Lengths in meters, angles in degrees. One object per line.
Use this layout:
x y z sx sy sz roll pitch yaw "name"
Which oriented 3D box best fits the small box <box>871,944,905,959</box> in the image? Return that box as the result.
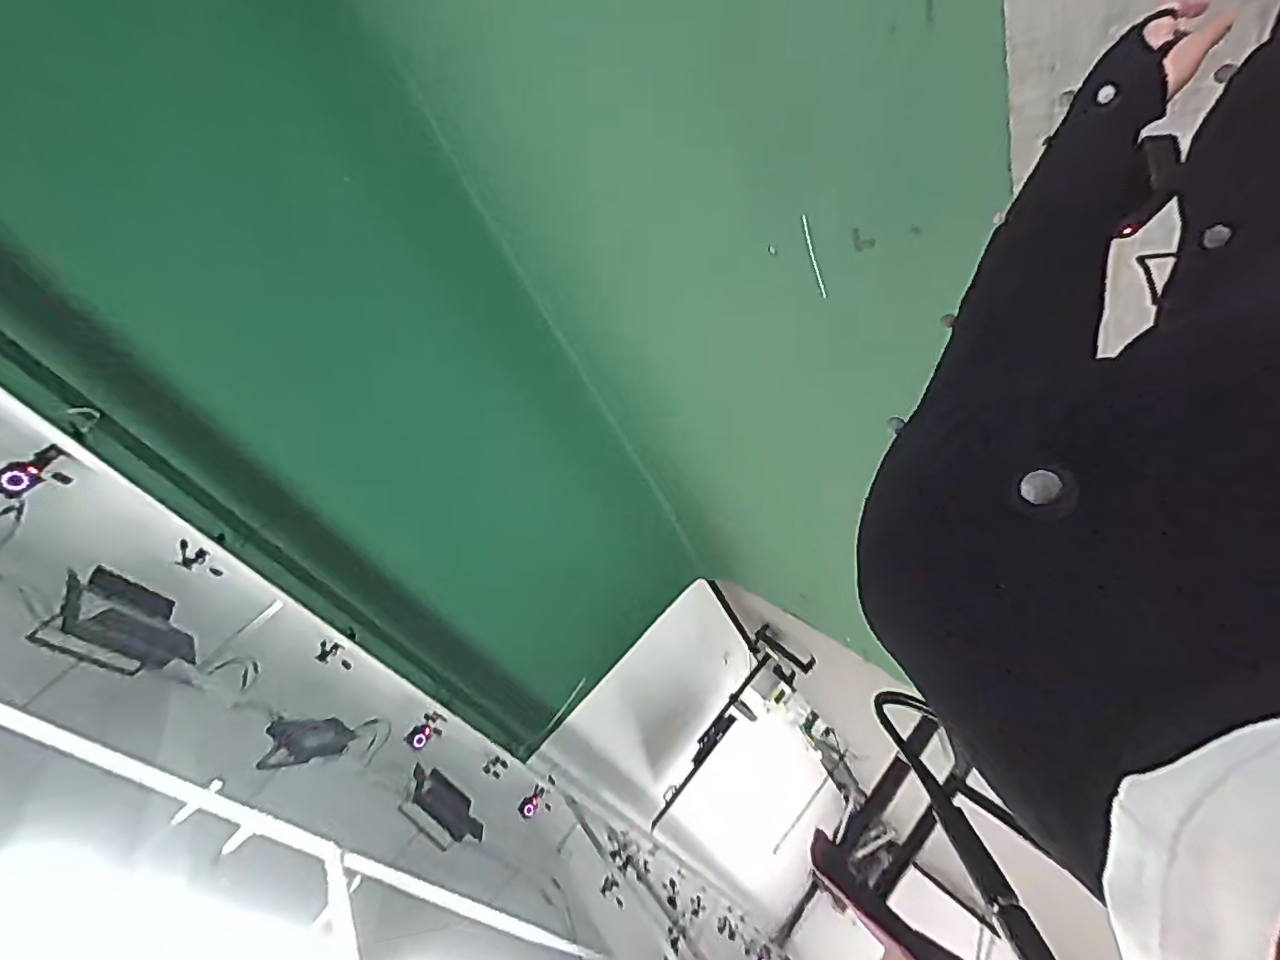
0.734 1.460 1.524 0.179 0.176 0.168 25 155 52 "small box"
